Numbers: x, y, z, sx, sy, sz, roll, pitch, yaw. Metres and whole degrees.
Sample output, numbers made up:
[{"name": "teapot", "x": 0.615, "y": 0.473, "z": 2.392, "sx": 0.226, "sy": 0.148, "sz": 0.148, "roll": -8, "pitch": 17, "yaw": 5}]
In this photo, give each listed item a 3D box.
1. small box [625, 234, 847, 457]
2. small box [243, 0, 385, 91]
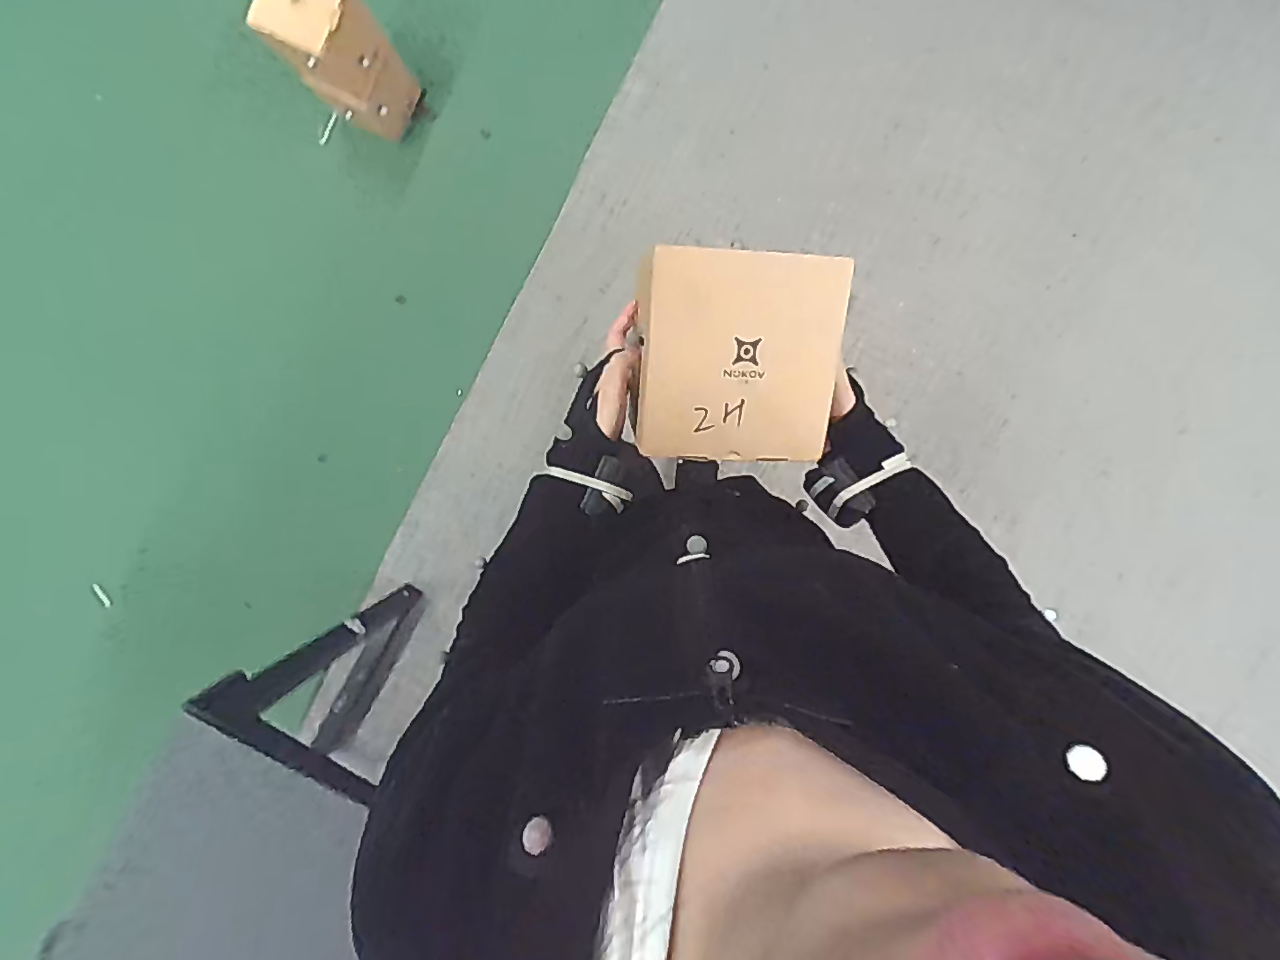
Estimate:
[{"name": "small box", "x": 0.074, "y": -0.129, "z": 0.525, "sx": 0.168, "sy": 0.176, "sz": 0.179, "roll": 1, "pitch": 109, "yaw": -6}, {"name": "small box", "x": -0.702, "y": -1.005, "z": 1.182, "sx": 0.179, "sy": 0.176, "sz": 0.168, "roll": 25, "pitch": 95, "yaw": -1}]
